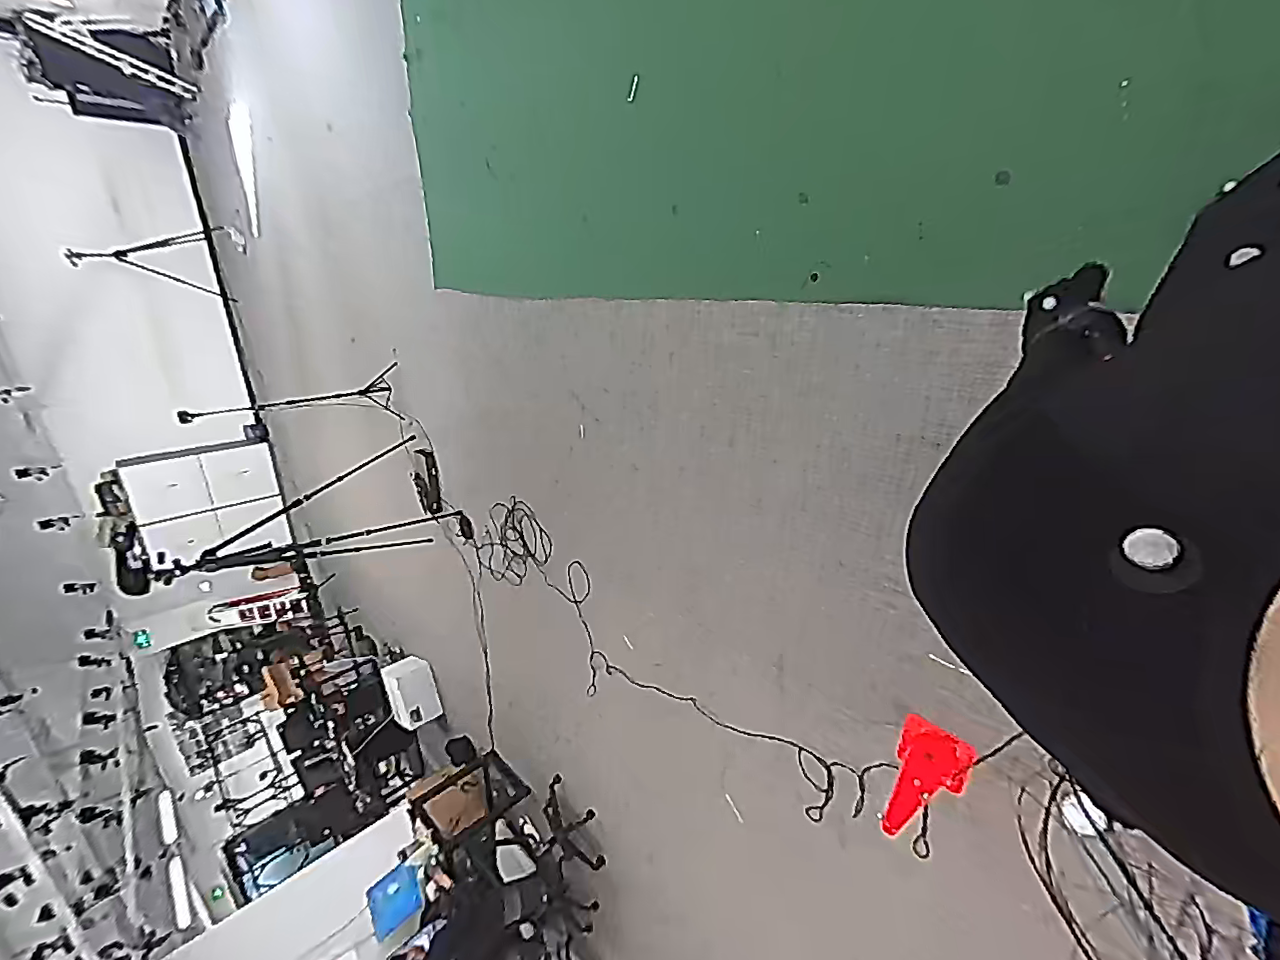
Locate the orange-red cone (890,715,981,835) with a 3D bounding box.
[{"bbox_3d":[0.808,0.886,1.559,0.198,0.360,0.199,24,120,39],"label":"orange-red cone"}]
